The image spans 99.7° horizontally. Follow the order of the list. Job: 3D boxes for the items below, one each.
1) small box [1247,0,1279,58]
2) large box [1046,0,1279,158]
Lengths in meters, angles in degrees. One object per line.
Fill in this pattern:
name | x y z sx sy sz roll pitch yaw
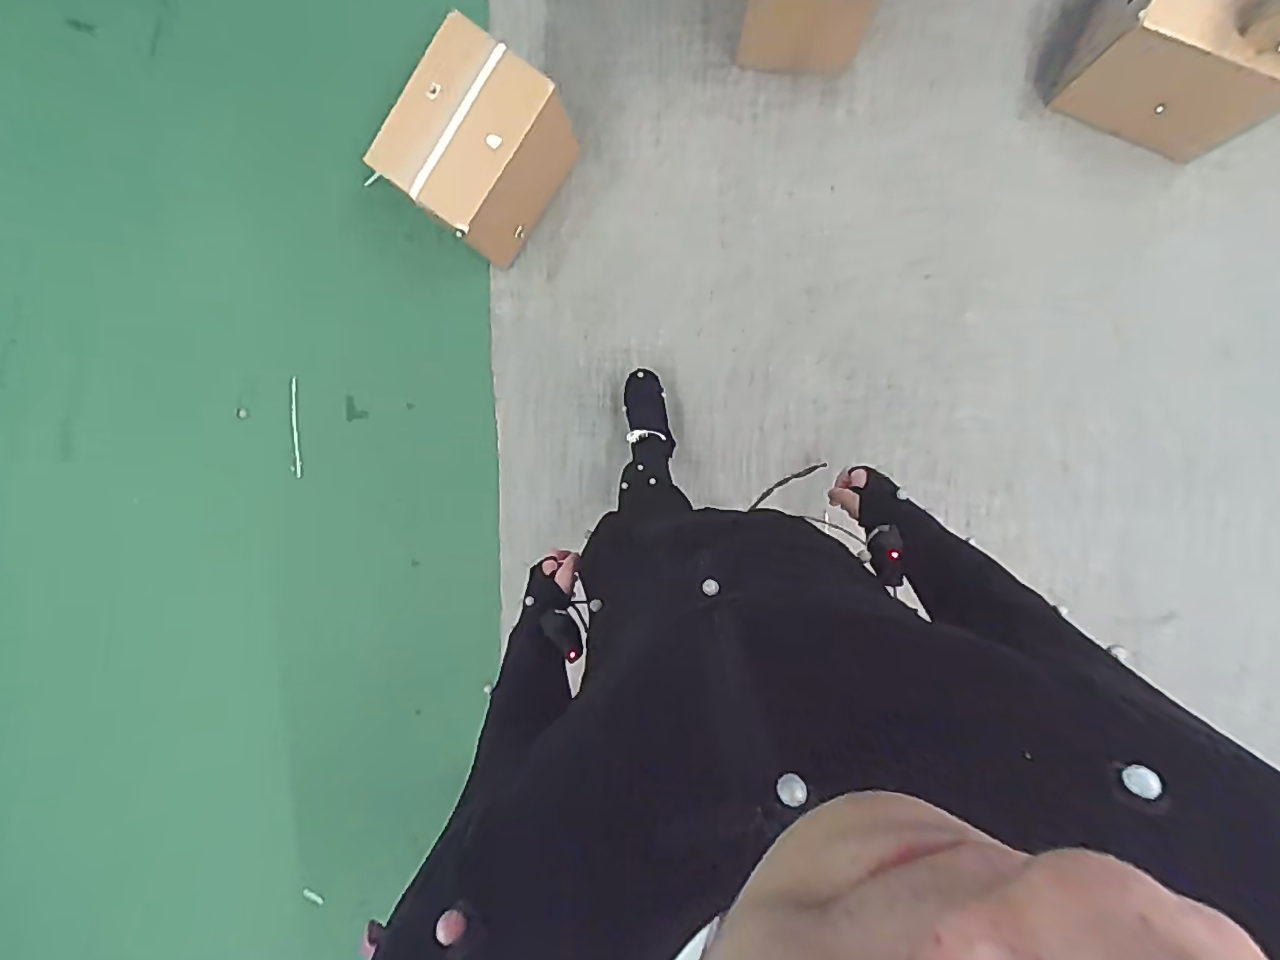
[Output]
small box | 1.345 -0.942 1.024 0.168 0.176 0.179 30 99 2
large box | 1.303 -1.039 1.265 0.408 0.320 0.320 24 96 3
